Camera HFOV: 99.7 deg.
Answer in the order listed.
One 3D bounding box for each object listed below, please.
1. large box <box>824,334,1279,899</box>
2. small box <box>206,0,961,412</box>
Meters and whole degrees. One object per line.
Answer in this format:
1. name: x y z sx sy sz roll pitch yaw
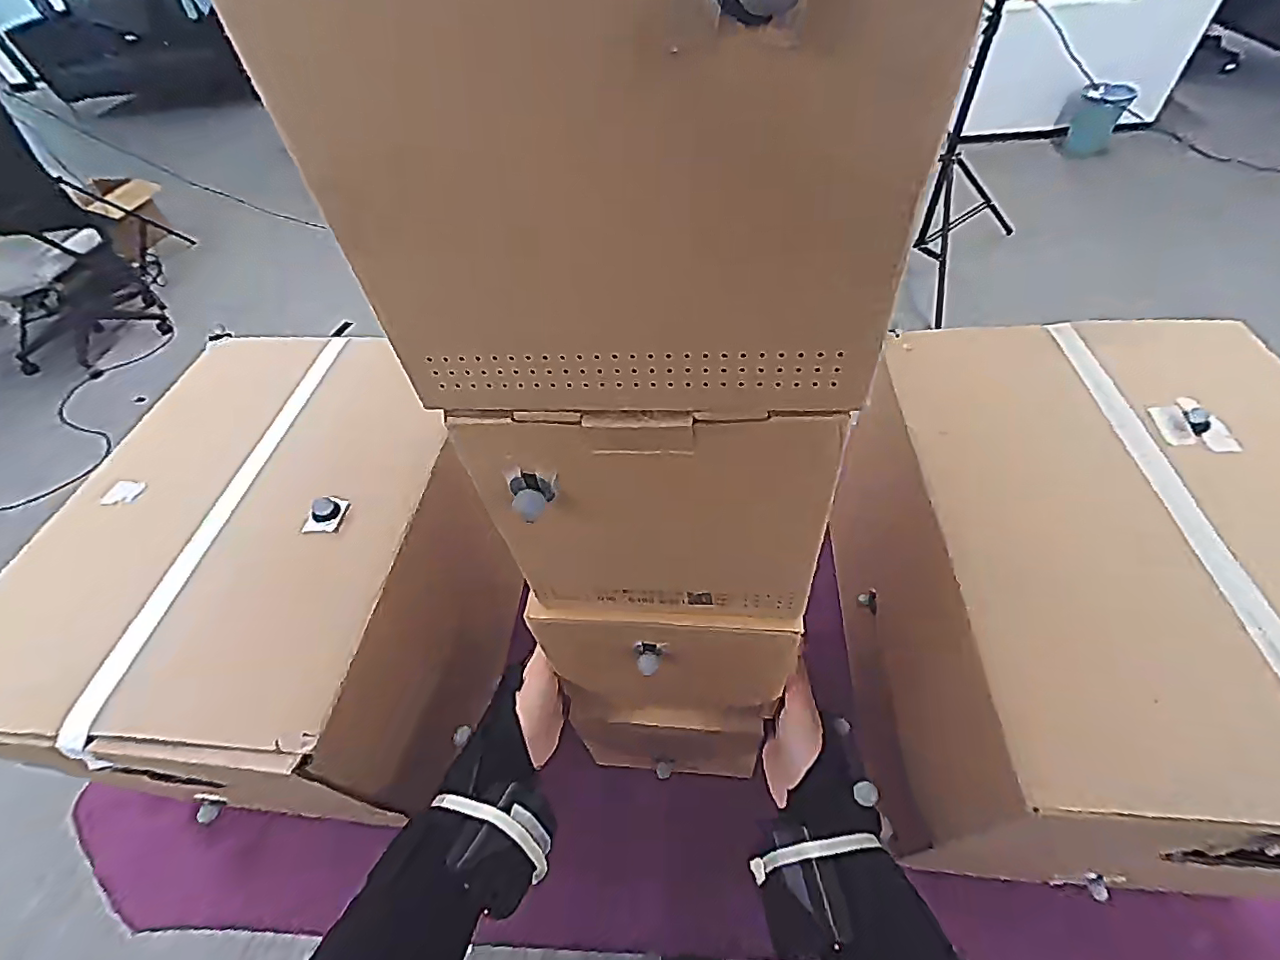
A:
1. large box: 0.374 0.117 0.497 0.320 0.320 0.408 0 49 7
2. small box: -0.003 -0.138 0.202 0.179 0.176 0.168 1 49 9
